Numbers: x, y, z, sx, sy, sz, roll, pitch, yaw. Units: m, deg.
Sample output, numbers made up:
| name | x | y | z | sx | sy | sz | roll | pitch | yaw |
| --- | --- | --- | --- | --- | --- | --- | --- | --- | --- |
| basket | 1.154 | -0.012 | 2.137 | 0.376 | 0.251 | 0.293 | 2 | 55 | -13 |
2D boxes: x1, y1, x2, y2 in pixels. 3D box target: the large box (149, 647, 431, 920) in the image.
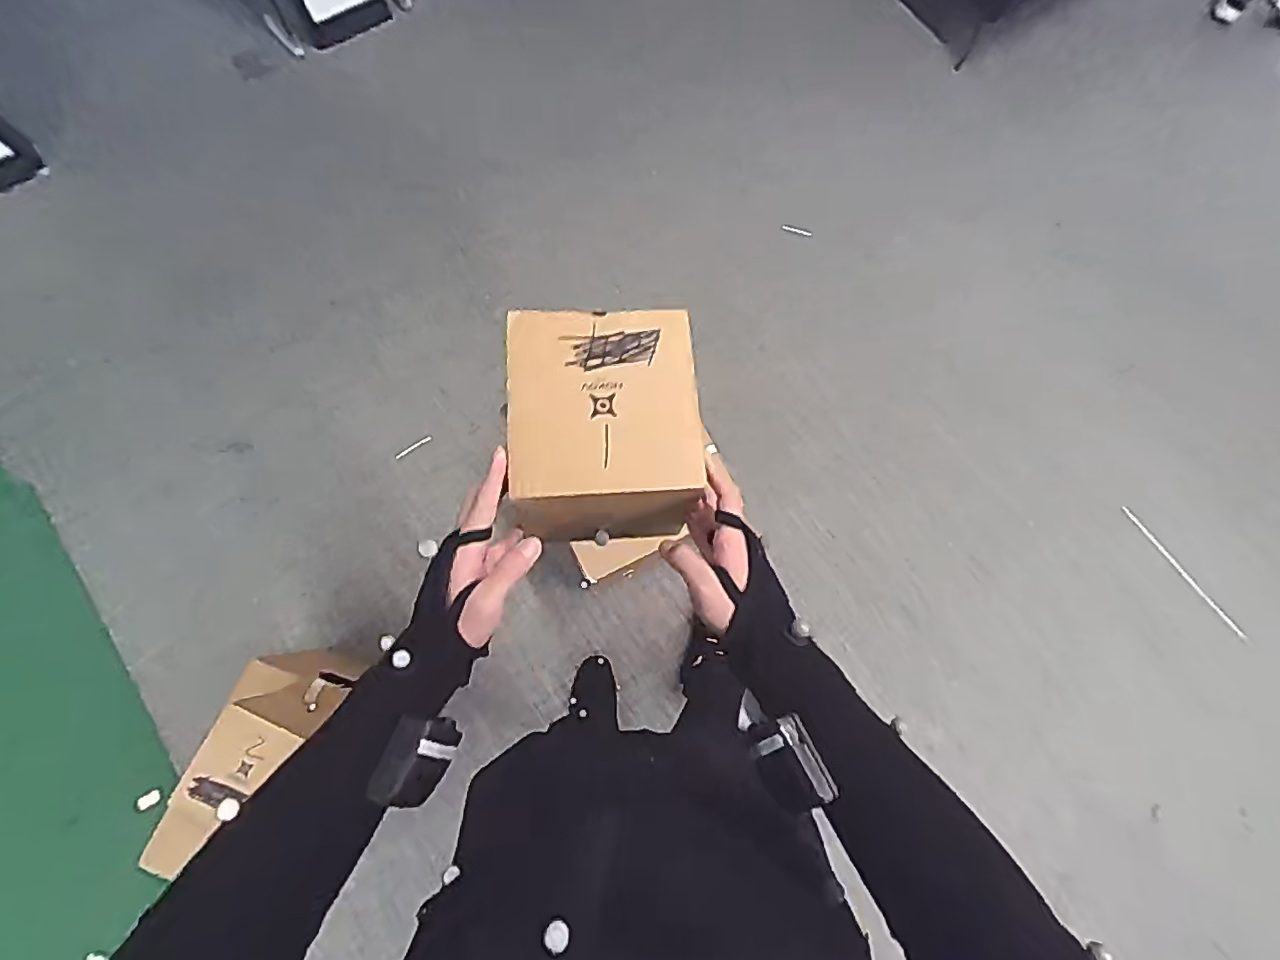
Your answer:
| name | x | y | z | sx | sy | sz | roll | pitch | yaw |
| --- | --- | --- | --- | --- | --- | --- | --- | --- | --- |
| large box | -0.732 | 0.627 | 1.208 | 0.320 | 0.320 | 0.408 | 21 | 77 | 3 |

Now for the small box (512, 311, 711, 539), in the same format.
| name | x | y | z | sx | sy | sz | roll | pitch | yaw |
| --- | --- | --- | --- | --- | --- | --- | --- | --- | --- |
| small box | -0.033 | -0.046 | 0.542 | 0.168 | 0.176 | 0.179 | -2 | 72 | -6 |
